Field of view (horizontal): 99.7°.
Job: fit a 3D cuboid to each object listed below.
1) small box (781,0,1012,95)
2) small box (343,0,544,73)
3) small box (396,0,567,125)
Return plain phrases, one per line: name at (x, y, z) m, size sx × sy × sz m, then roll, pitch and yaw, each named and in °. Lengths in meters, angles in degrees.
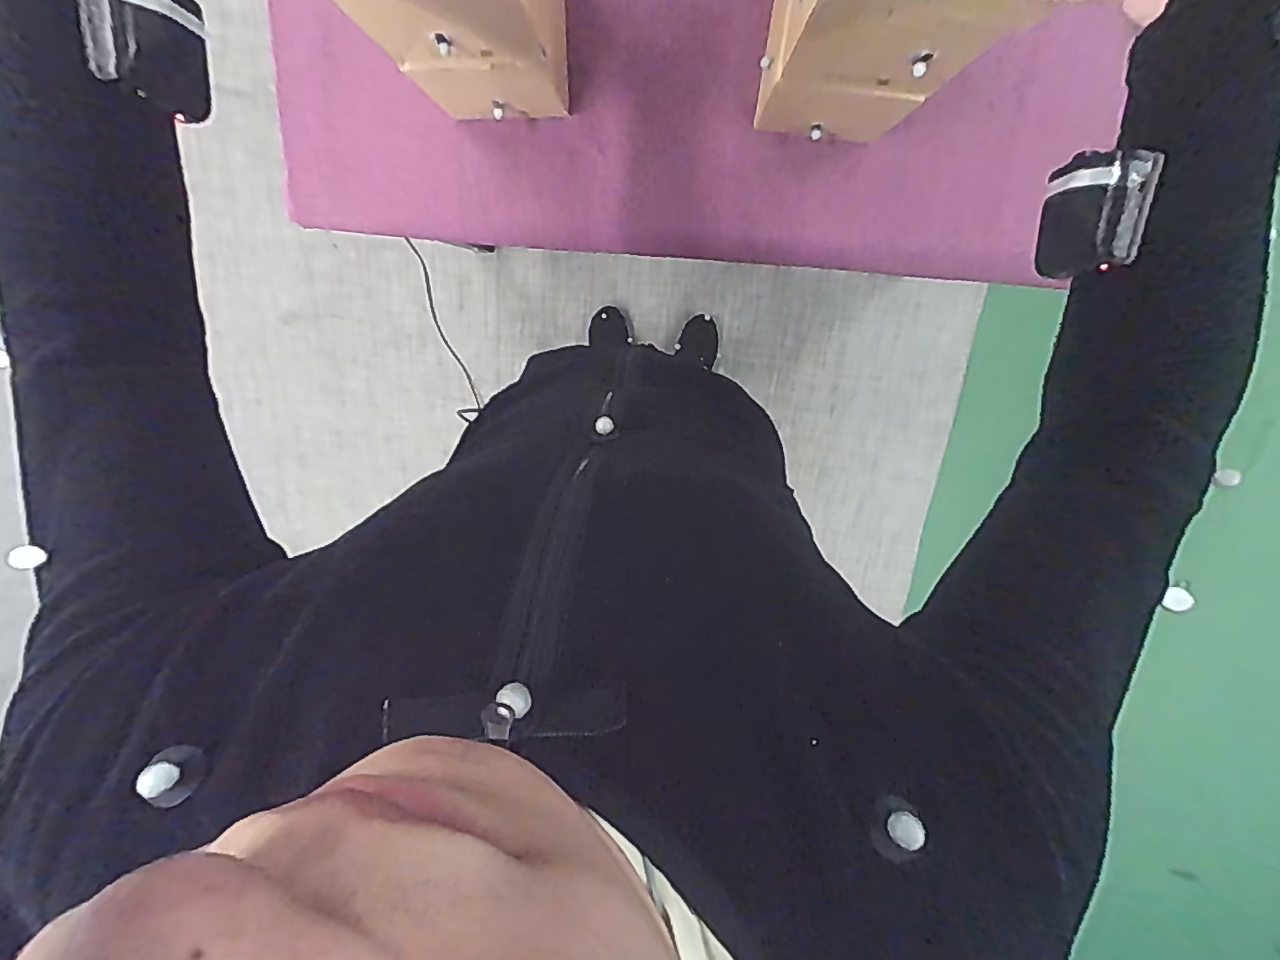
small box at (0.232, -0.478, 0.484) m, size 0.168 × 0.176 × 0.179 m, roll 7°, pitch 107°, yaw 1°
small box at (-0.191, -0.517, 0.499) m, size 0.168 × 0.176 × 0.179 m, roll -2°, pitch 107°, yaw 3°
small box at (-0.186, -0.560, 0.655) m, size 0.168 × 0.176 × 0.179 m, roll 1°, pitch 107°, yaw 3°
